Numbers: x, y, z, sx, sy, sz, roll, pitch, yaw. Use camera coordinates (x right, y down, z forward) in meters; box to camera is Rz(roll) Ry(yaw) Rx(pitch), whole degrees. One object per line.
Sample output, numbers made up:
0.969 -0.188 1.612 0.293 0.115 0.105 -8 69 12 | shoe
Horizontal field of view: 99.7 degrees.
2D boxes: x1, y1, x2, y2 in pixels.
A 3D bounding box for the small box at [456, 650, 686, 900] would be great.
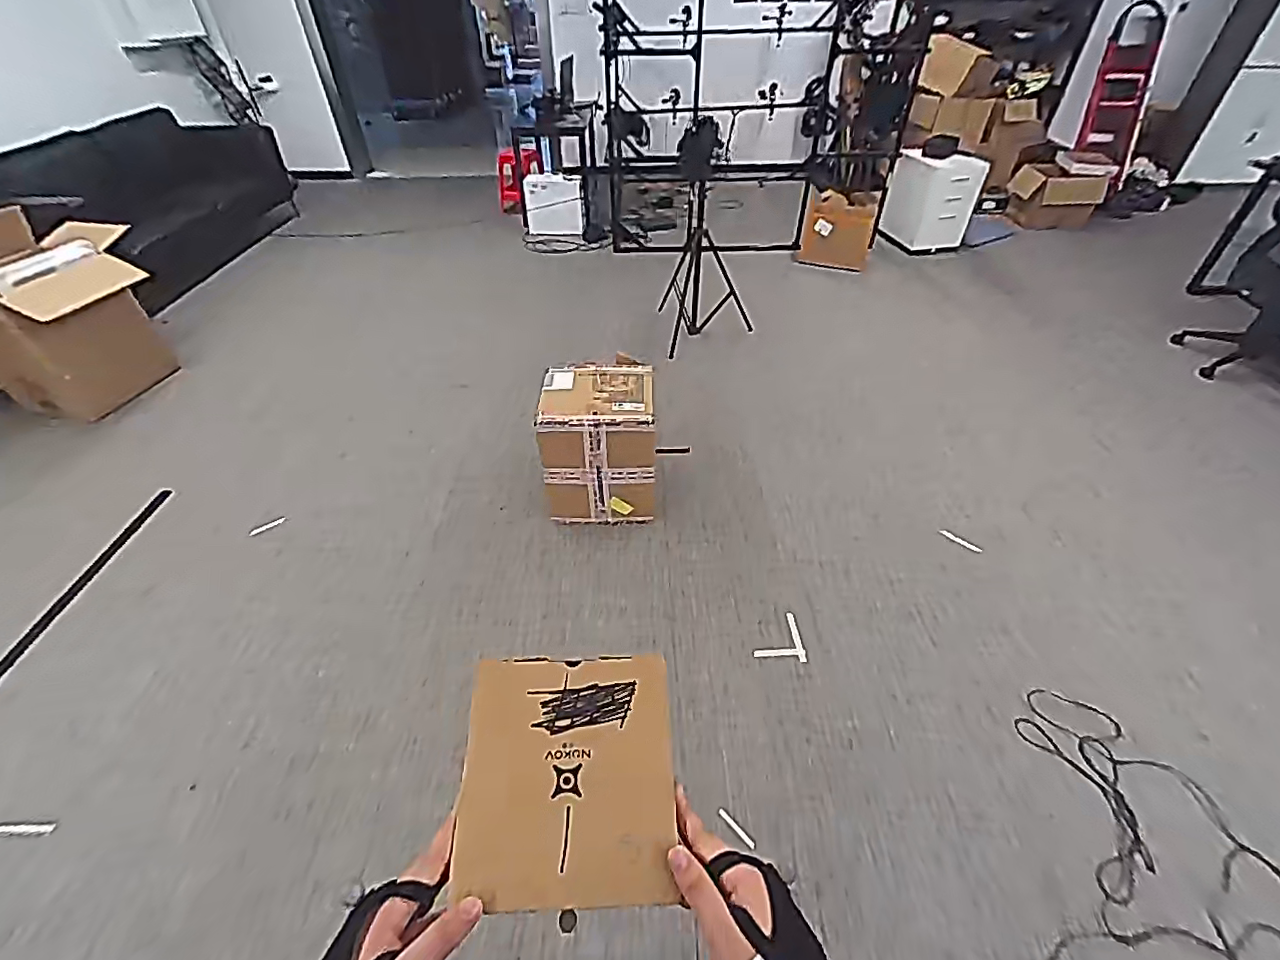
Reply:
-0.053 0.270 0.494 0.168 0.176 0.179 -1 53 -2 | small box
